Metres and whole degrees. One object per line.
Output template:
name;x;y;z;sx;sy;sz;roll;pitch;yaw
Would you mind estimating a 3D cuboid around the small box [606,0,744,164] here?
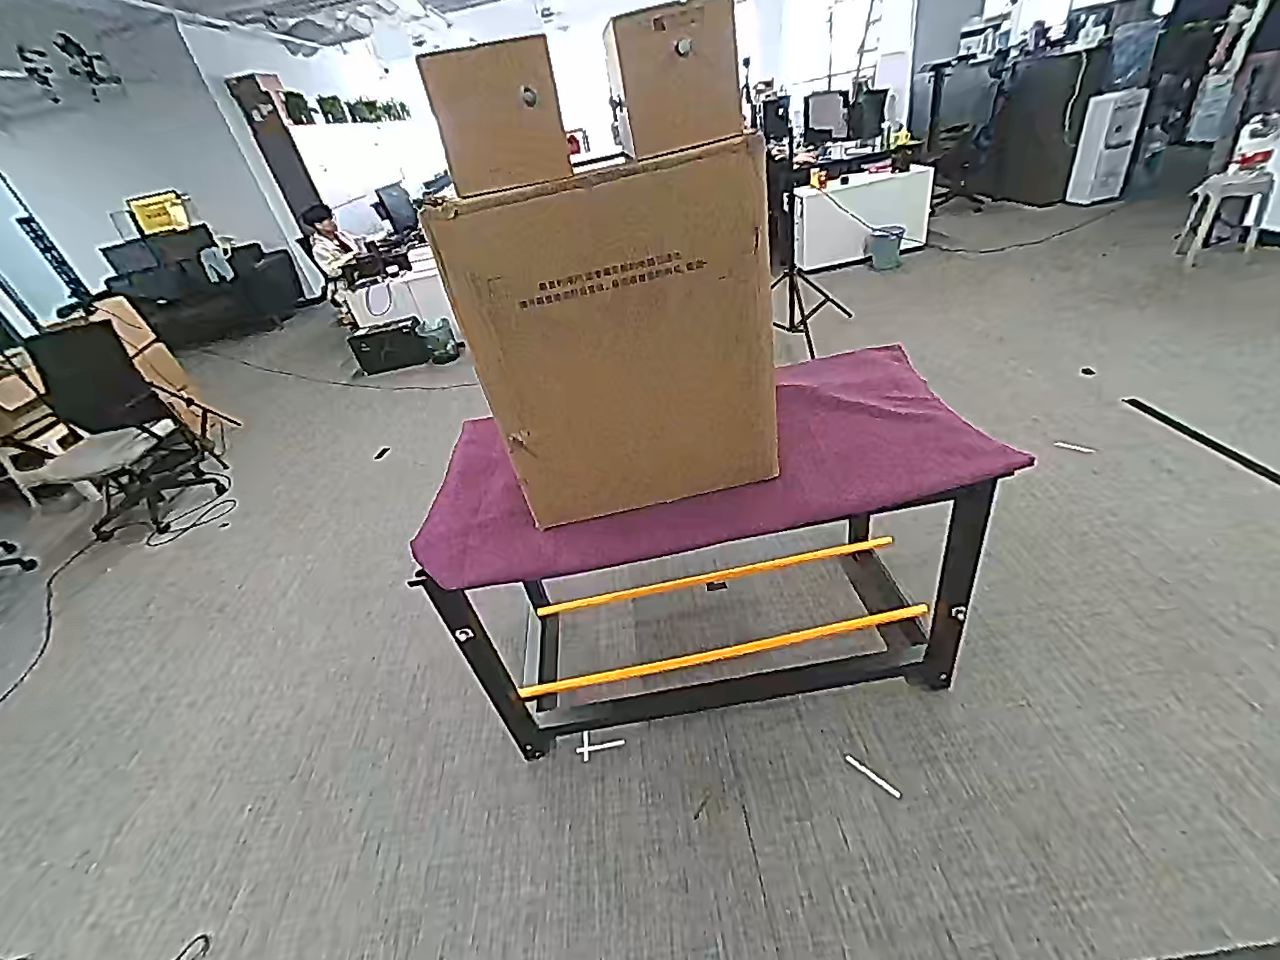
small box;0.049;-0.593;0.812;0.168;0.176;0.179;-14;34;0
